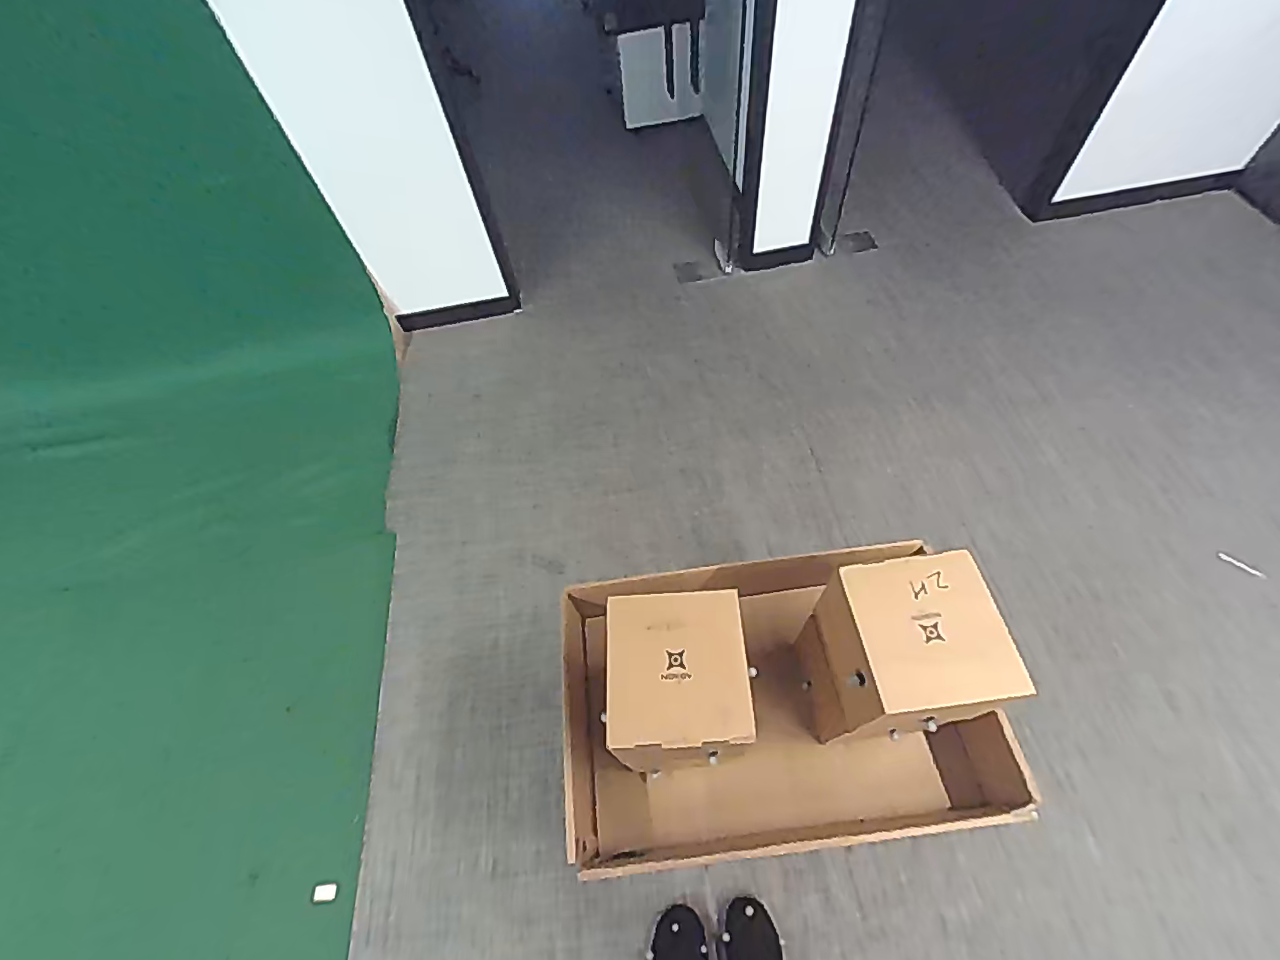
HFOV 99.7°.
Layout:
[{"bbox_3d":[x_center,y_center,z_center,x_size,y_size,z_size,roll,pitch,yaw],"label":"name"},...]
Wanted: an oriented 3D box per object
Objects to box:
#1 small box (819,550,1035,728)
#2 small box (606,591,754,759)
[{"bbox_3d":[0.343,0.211,0.690,0.168,0.176,0.179,-8,58,1],"label":"small box"},{"bbox_3d":[0.050,0.258,0.697,0.168,0.176,0.179,-3,57,3],"label":"small box"}]
